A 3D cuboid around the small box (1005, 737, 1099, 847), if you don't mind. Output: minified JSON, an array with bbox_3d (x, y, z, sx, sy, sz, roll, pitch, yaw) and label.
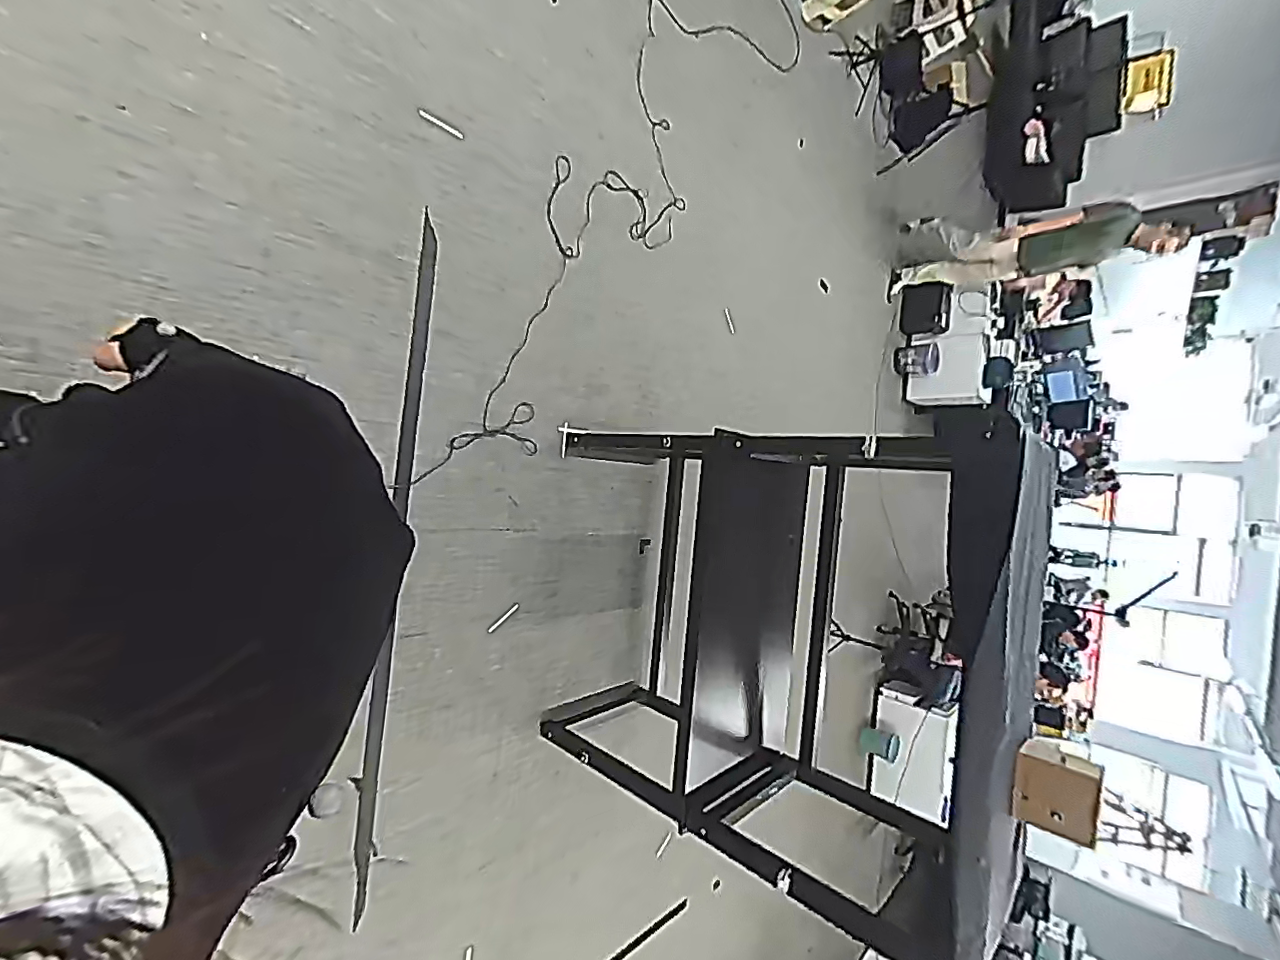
[{"bbox_3d":[1.041,0.777,1.366,0.179,0.176,0.168,13,86,-47],"label":"small box"}]
